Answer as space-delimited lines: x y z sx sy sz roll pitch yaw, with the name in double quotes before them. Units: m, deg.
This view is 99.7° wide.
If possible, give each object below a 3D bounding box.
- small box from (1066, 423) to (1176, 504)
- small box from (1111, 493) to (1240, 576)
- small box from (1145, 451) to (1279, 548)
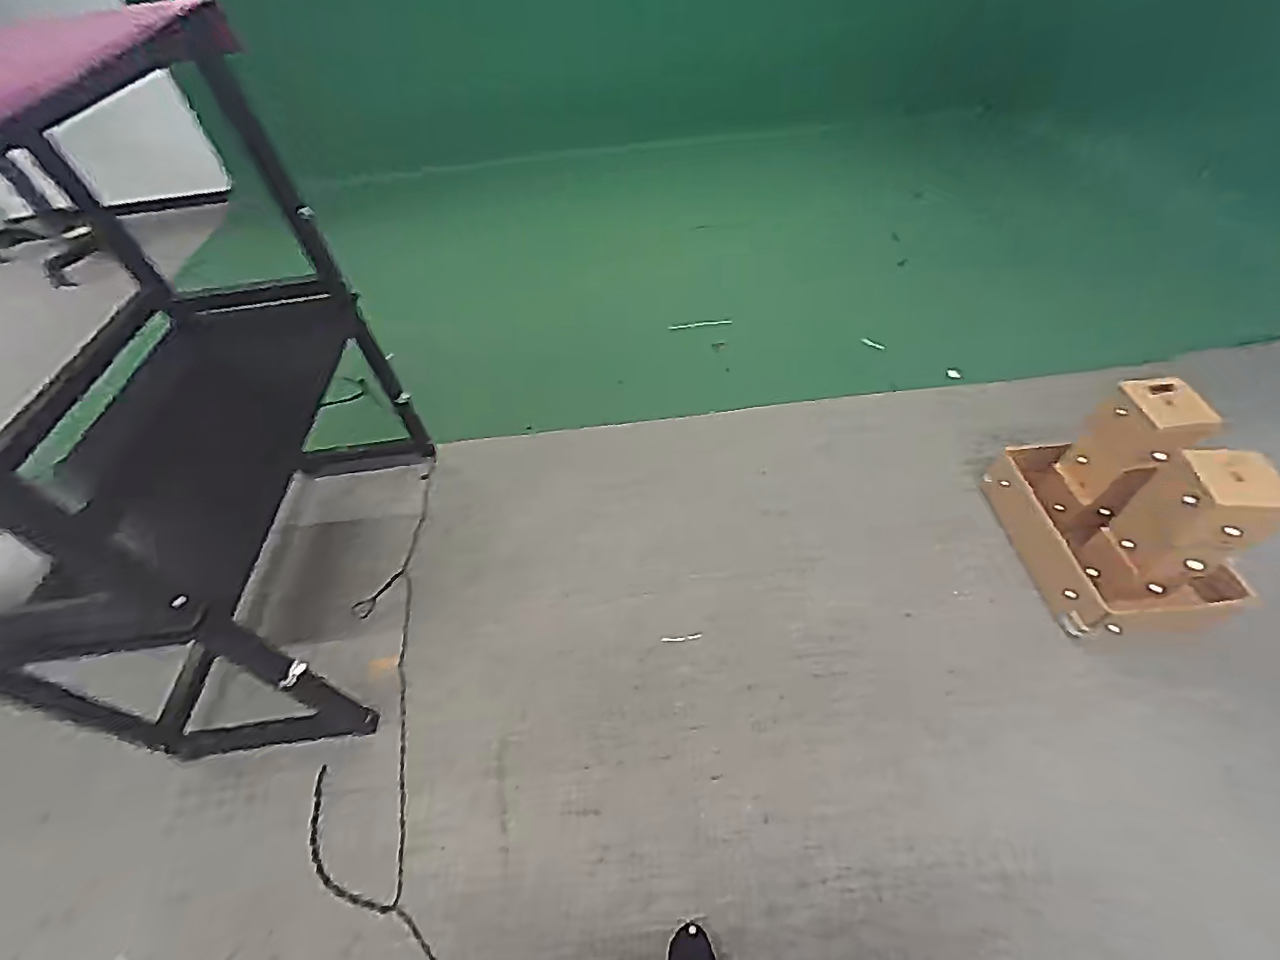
"small box" 1.429 -0.044 1.617 0.179 0.176 0.168 -7 52 1
"small box" 1.432 0.148 1.448 0.168 0.176 0.179 -4 50 4
"small box" 1.402 0.050 1.317 0.168 0.176 0.179 2 50 10
